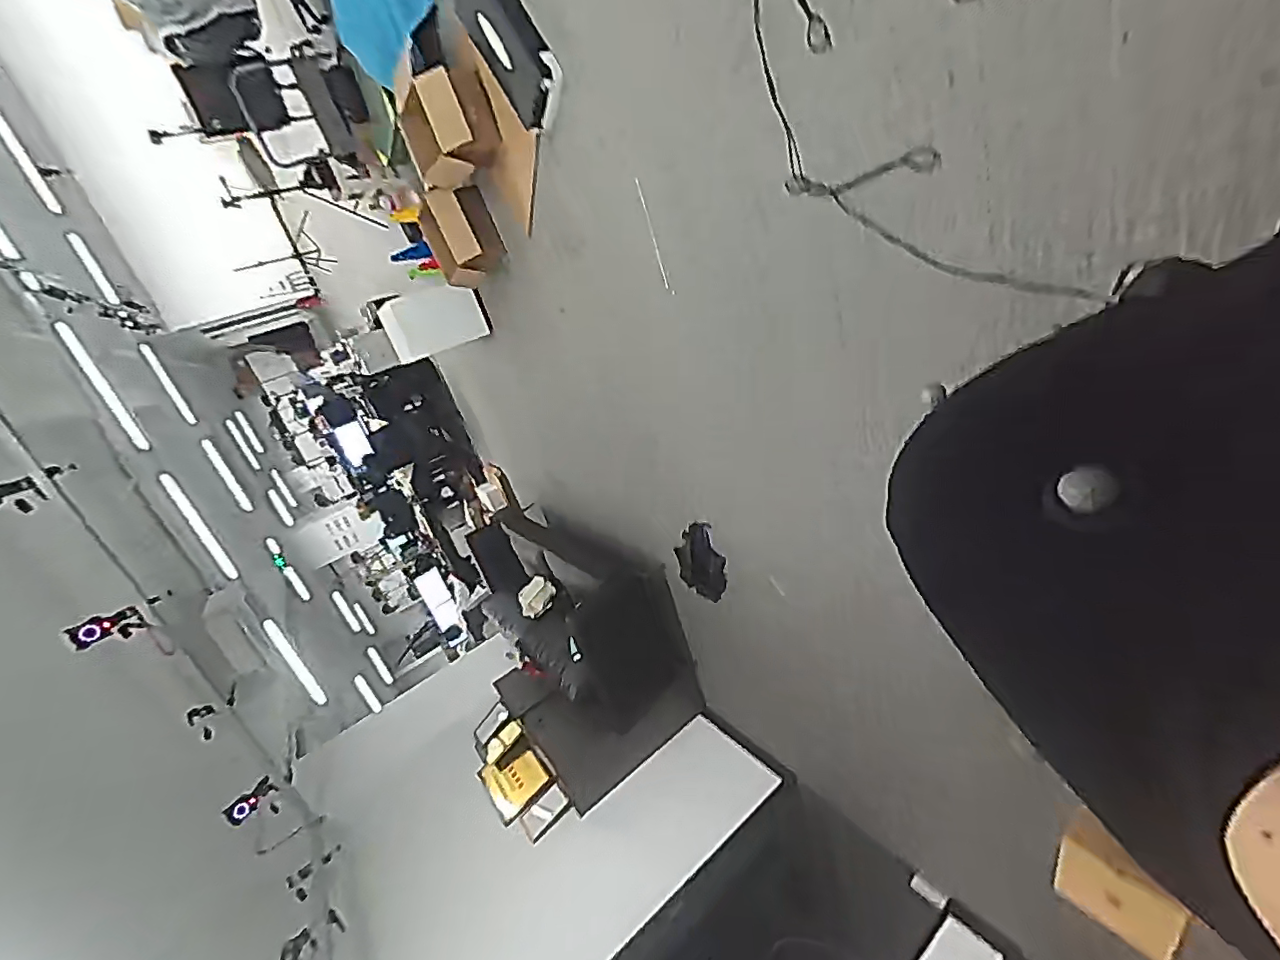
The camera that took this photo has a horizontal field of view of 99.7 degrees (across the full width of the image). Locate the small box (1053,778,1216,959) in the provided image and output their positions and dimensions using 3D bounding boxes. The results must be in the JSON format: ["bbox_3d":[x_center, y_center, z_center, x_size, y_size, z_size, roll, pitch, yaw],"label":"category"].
[{"bbox_3d":[0.880,0.689,0.969,0.168,0.176,0.179,23,135,52],"label":"small box"}]
